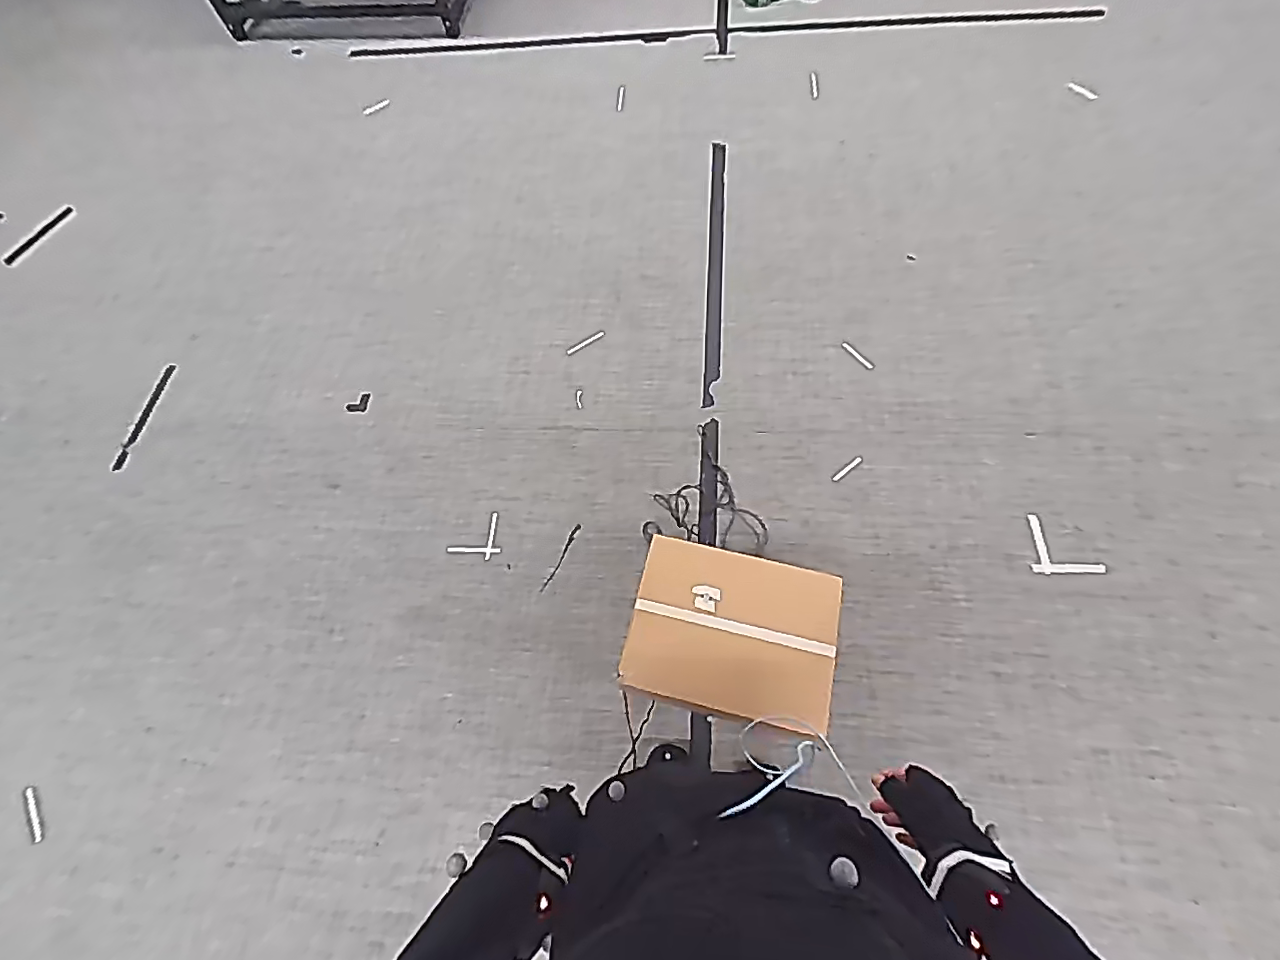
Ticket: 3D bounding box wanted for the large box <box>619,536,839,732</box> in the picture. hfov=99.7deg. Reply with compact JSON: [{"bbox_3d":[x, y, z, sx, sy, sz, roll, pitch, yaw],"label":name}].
[{"bbox_3d":[0.196,0.357,1.222,0.408,0.320,0.320,13,65,9],"label":"large box"}]
